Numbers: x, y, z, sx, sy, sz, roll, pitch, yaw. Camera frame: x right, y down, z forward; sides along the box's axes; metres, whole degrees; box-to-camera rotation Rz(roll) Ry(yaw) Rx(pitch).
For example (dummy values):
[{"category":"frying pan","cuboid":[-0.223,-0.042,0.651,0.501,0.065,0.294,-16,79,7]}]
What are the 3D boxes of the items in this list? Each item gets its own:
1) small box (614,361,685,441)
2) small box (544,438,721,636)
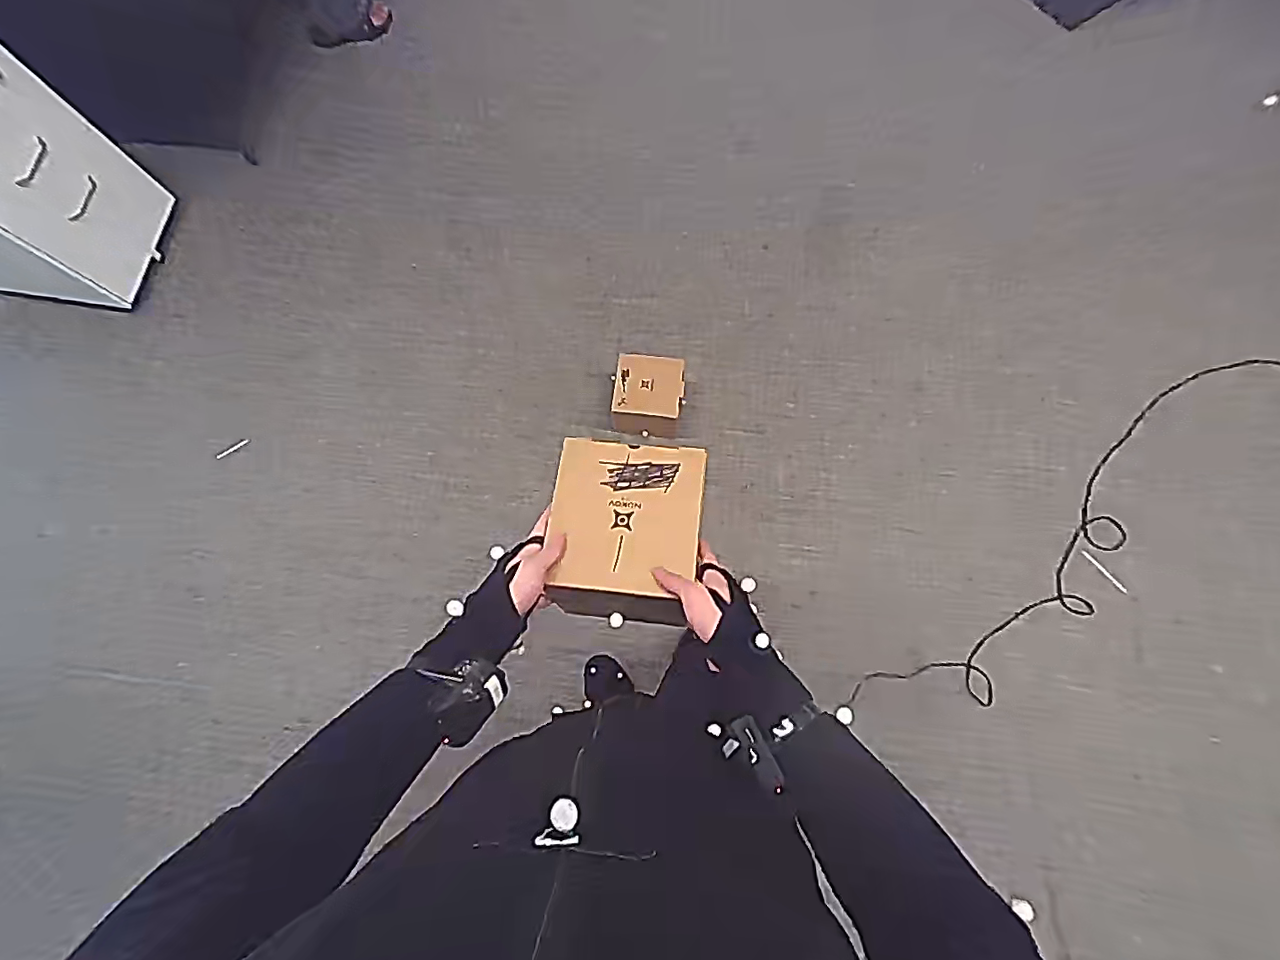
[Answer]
[{"category":"small box","cuboid":[0.027,-0.212,1.490,0.179,0.176,0.168,5,77,2]},{"category":"small box","cuboid":[-0.001,0.074,0.652,0.168,0.176,0.179,8,65,8]}]
